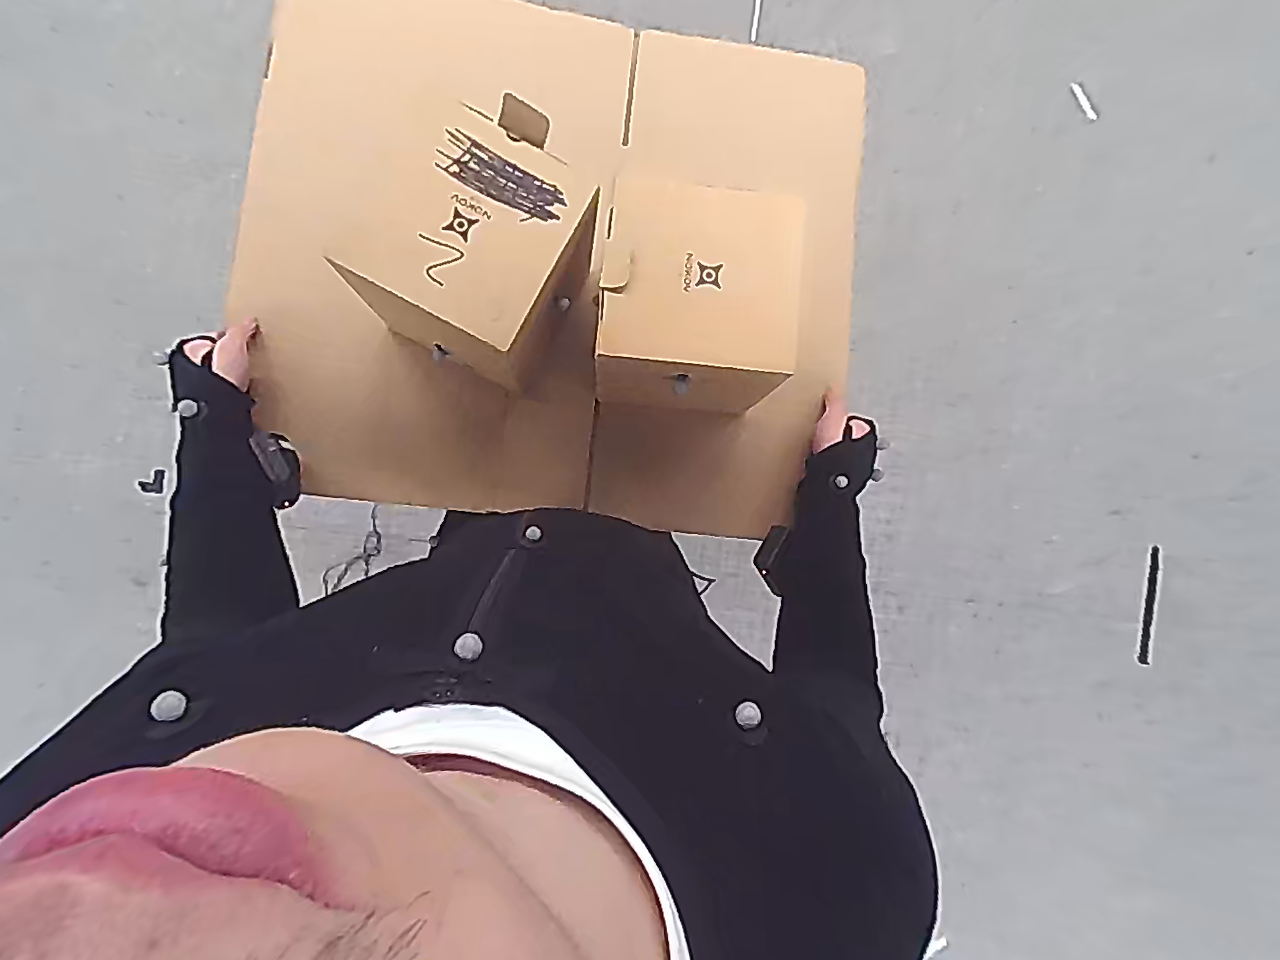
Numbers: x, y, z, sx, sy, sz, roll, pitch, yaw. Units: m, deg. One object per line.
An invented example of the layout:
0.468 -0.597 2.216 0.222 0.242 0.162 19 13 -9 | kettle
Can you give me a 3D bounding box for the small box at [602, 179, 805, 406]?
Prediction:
0.054 -0.178 0.568 0.179 0.176 0.168 5 85 -3 | small box
